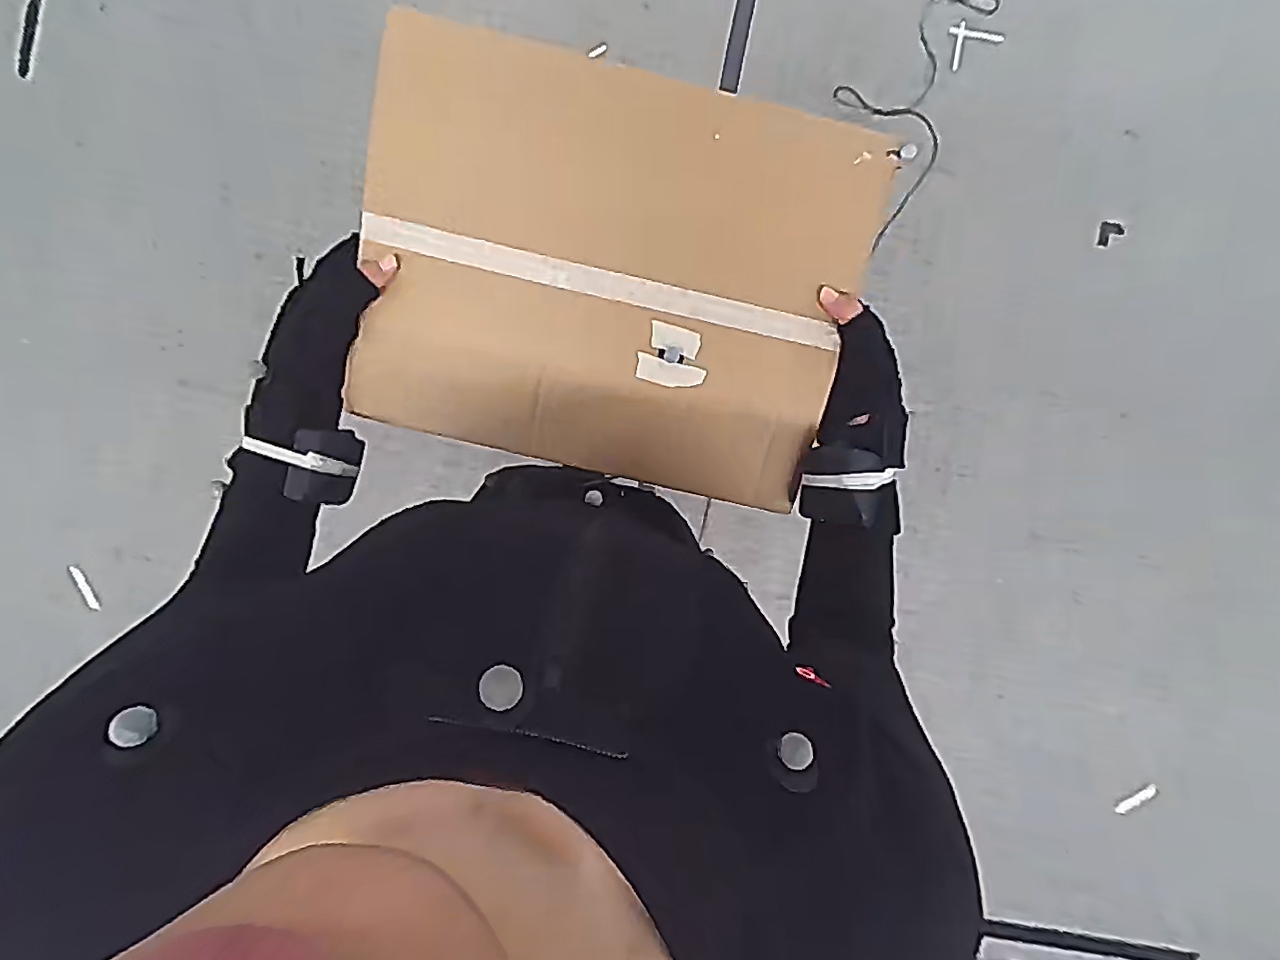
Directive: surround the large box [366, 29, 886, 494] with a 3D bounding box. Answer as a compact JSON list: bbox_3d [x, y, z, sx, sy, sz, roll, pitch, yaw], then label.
[{"bbox_3d":[-0.025,-0.202,0.607,0.408,0.320,0.320,12,104,-3],"label":"large box"}]
